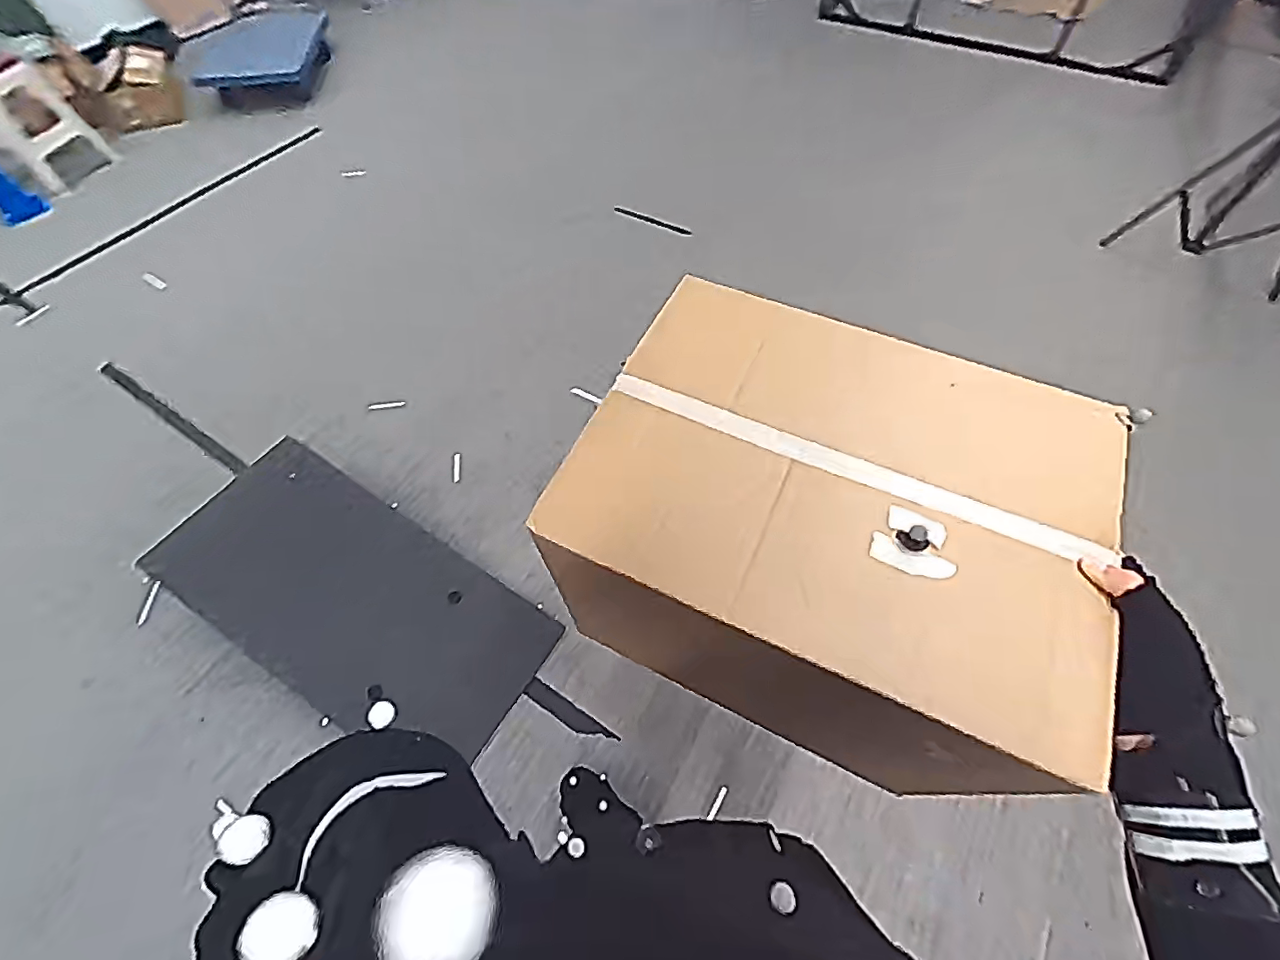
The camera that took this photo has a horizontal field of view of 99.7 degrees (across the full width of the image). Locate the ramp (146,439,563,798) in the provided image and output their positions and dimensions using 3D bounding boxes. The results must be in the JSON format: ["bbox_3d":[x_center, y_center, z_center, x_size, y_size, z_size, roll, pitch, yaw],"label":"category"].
[{"bbox_3d":[-0.742,0.313,1.441,0.991,0.206,0.509,26,62,17],"label":"ramp"}]

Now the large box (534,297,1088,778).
[{"bbox_3d":[0.155,0.070,0.582,0.408,0.320,0.320,22,63,13],"label":"large box"}]
